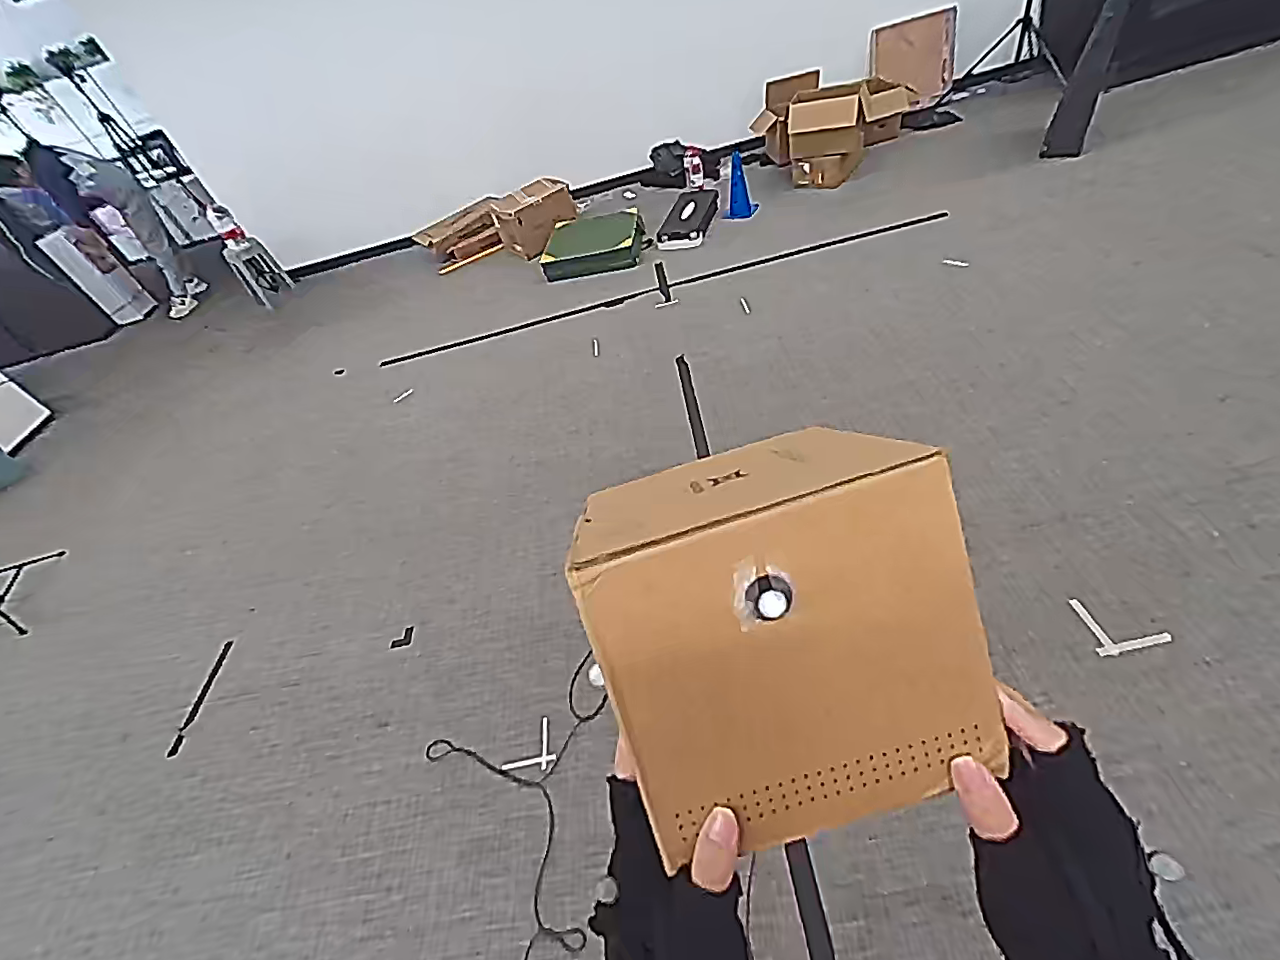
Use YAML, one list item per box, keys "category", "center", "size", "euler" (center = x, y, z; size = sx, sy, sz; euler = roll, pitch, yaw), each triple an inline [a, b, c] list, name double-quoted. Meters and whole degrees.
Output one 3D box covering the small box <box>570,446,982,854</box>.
- category: "small box"
  center: [0.073, 0.089, 0.341]
  size: [0.179, 0.176, 0.168]
  euler: [-17, 9, 2]
